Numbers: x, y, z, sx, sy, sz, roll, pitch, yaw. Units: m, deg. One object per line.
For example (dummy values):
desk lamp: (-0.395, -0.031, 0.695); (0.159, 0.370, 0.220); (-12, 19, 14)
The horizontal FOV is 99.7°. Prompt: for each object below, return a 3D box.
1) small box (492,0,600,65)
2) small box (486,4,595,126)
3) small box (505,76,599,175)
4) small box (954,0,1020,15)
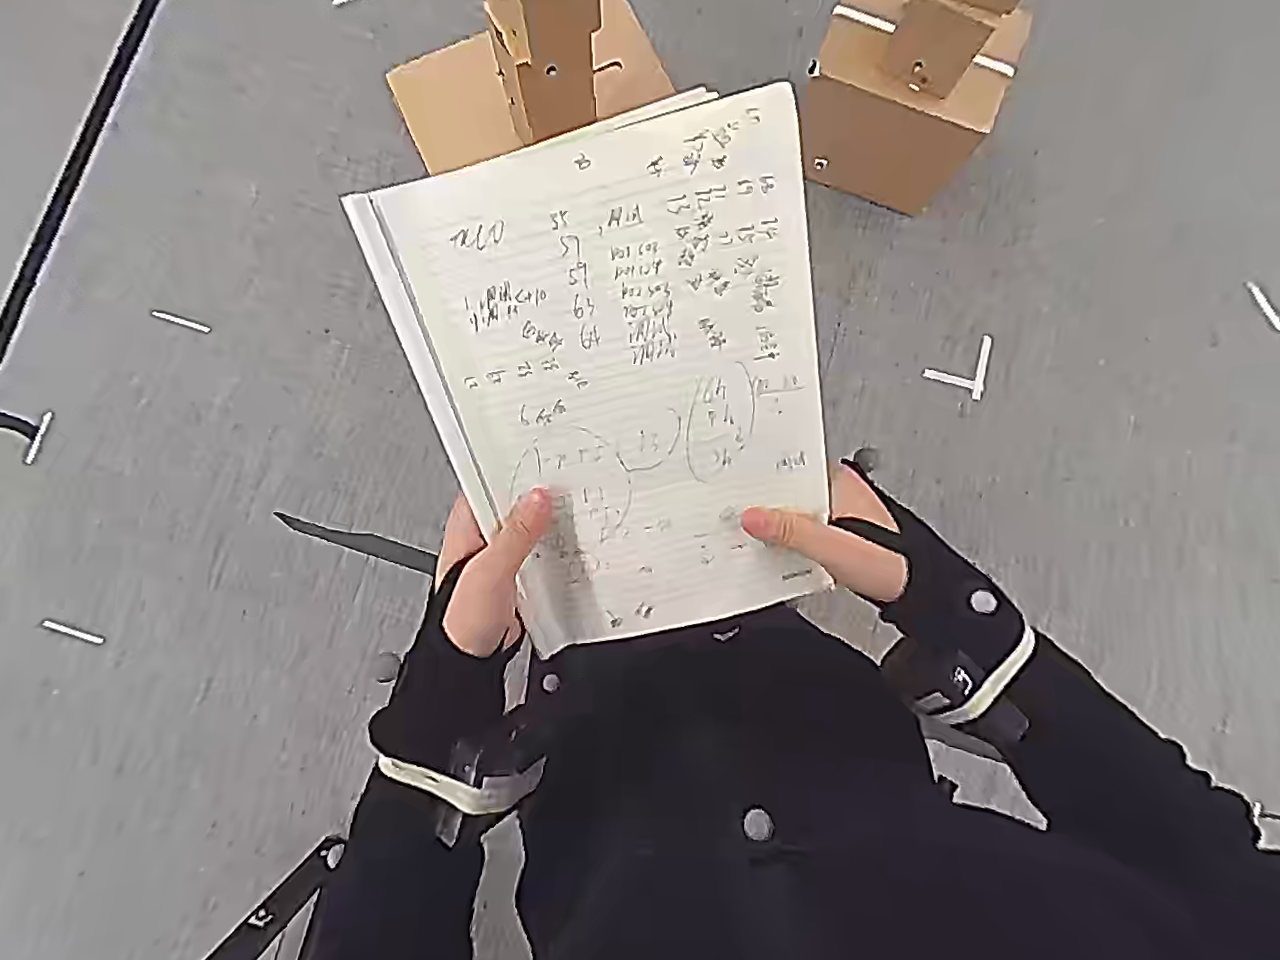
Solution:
small box: (-0.189, -0.961, 1.043); (0.179, 0.176, 0.168); (-33, 86, -7)
small box: (-0.212, -0.939, 1.203); (0.179, 0.176, 0.168); (-26, 85, -5)
small box: (-0.217, -0.920, 1.367); (0.179, 0.176, 0.168); (-27, 85, -5)
small box: (0.622, -0.949, 0.916); (0.179, 0.176, 0.168); (20, 83, 3)
